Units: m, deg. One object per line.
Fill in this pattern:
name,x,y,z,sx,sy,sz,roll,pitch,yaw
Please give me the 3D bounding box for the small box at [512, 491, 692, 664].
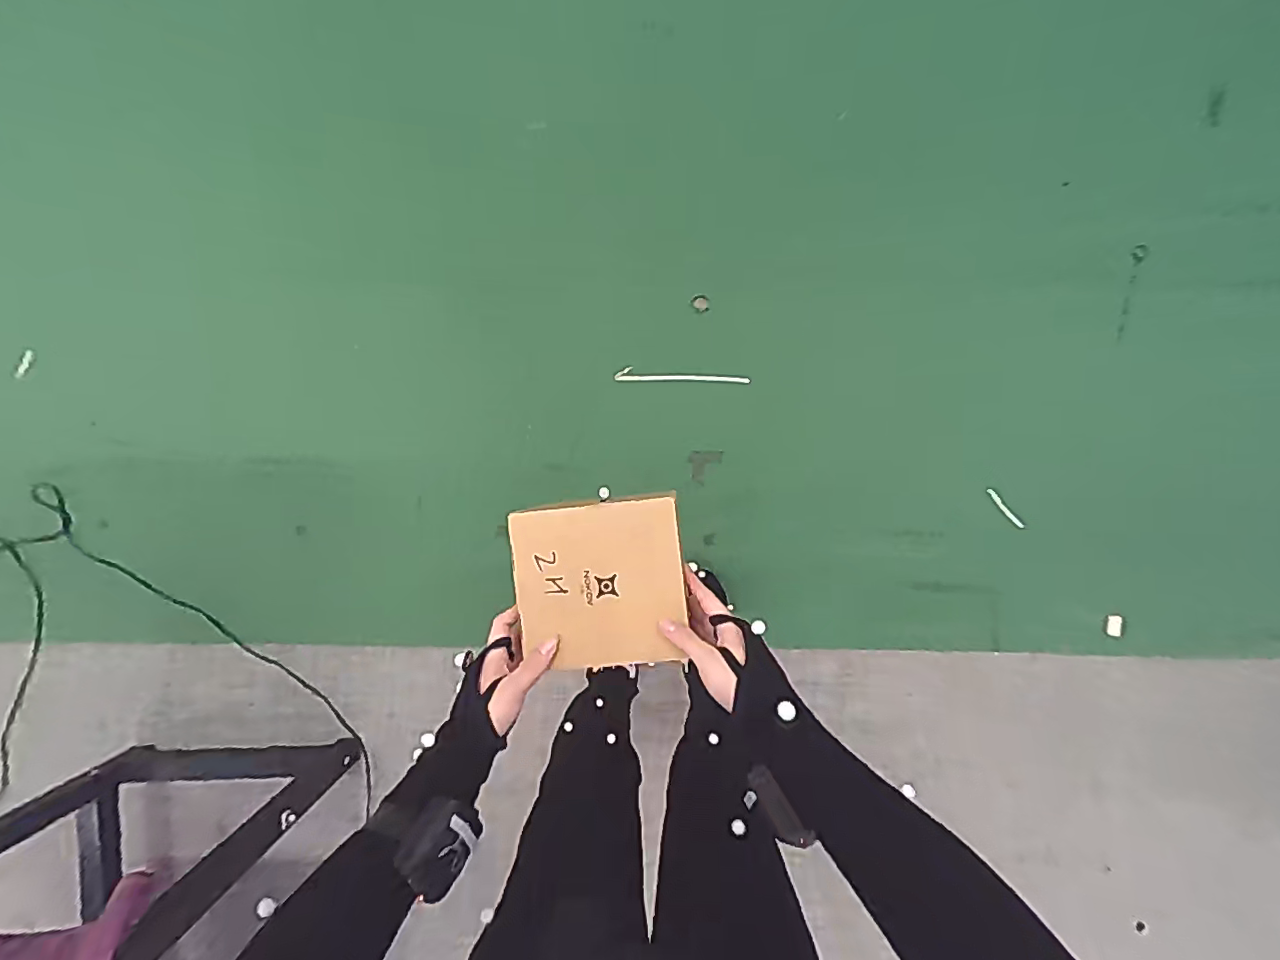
small box,-0.035,0.103,0.638,0.179,0.176,0.168,-6,90,5
